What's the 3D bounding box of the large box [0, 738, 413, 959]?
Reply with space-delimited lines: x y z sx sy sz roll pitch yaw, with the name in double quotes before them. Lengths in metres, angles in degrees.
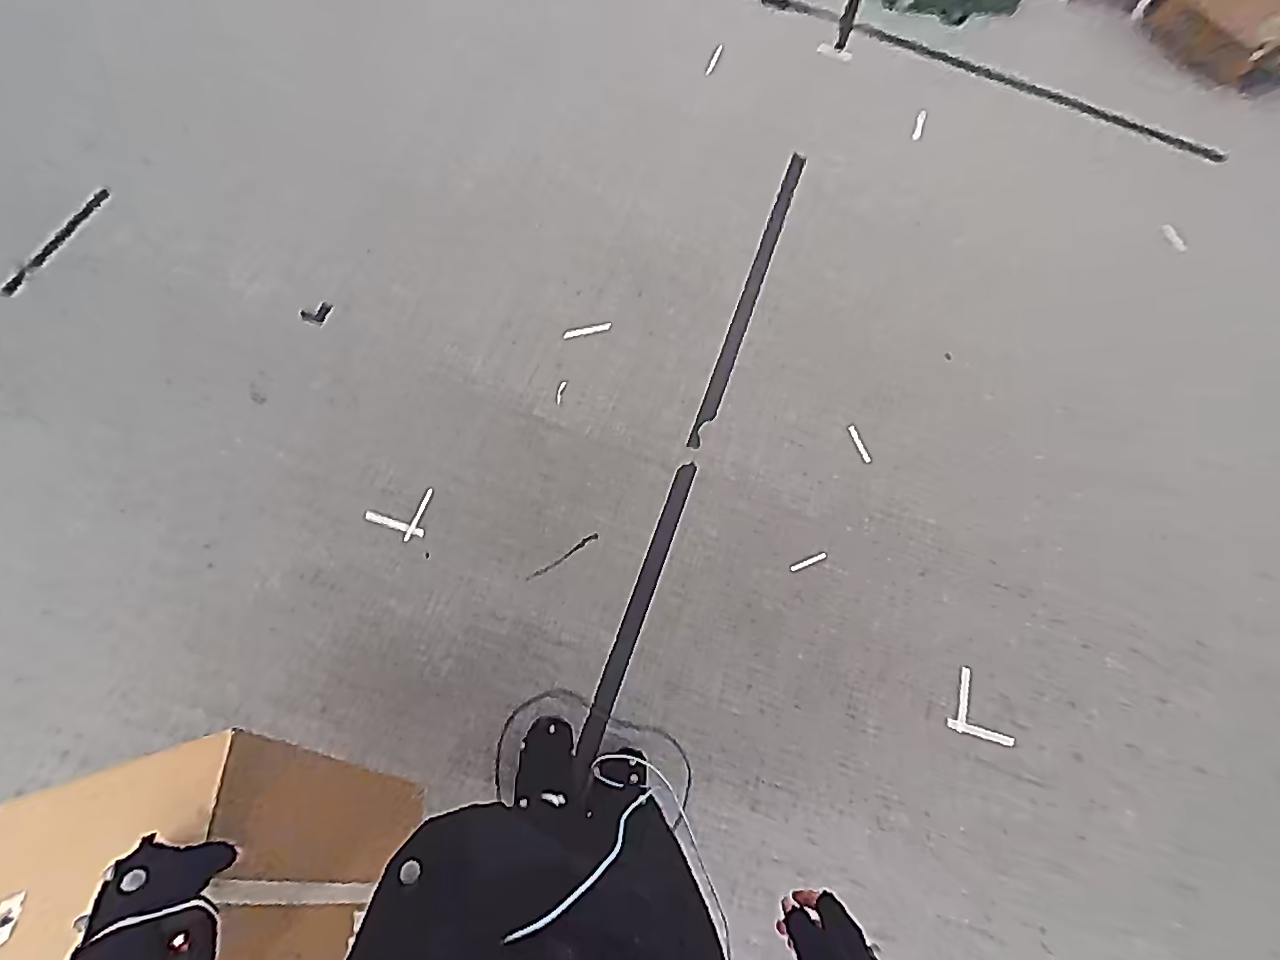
"large box" -0.549 0.580 0.696 0.320 0.408 0.320 -18 50 2
